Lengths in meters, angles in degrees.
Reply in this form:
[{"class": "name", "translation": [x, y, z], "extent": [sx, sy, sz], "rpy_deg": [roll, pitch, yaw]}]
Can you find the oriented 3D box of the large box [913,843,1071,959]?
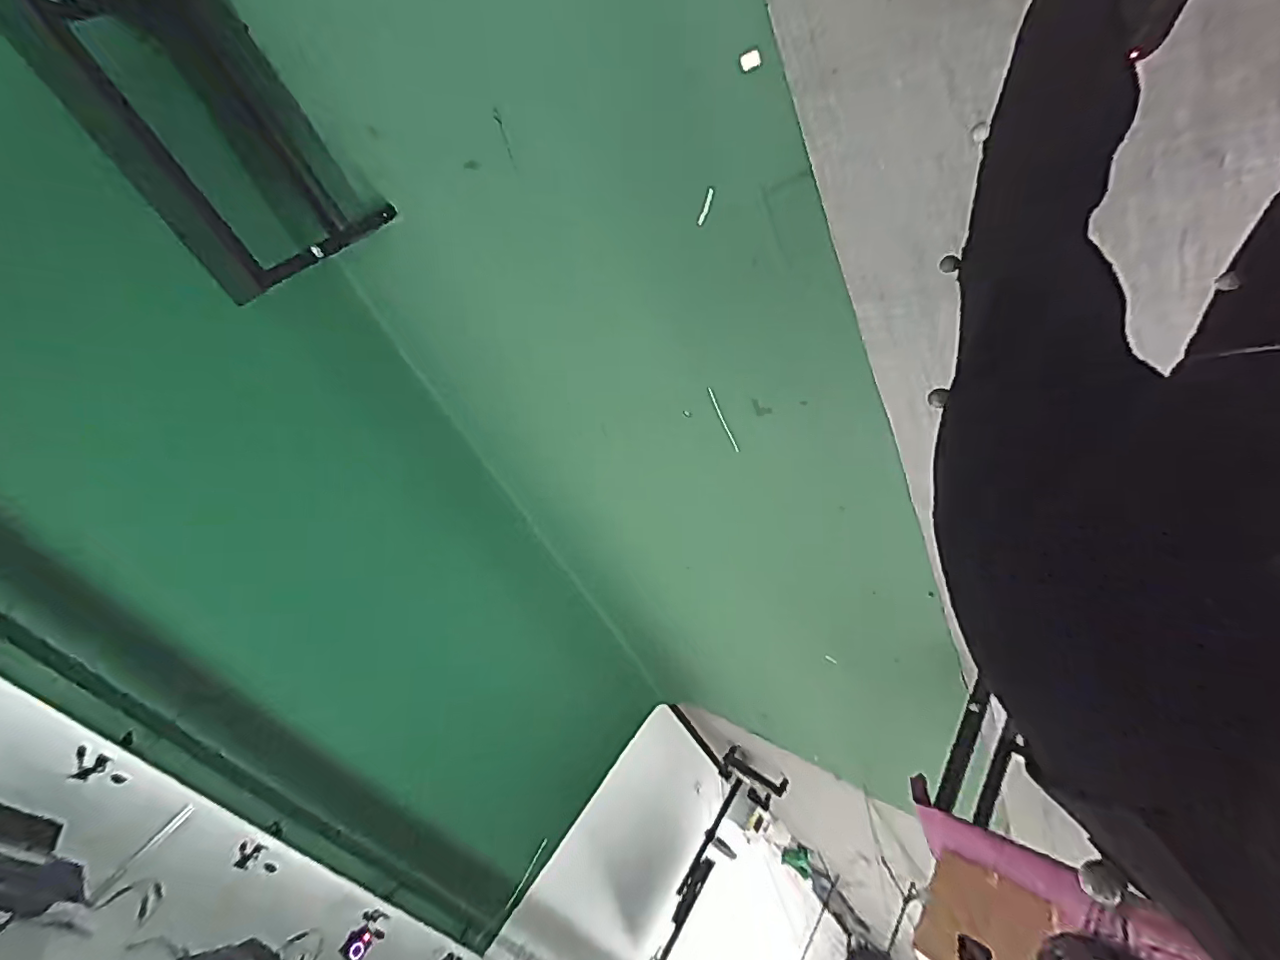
[{"class": "large box", "translation": [1.103, 1.441, 1.680], "extent": [0.320, 0.320, 0.408], "rpy_deg": [4, 132, 47]}]
